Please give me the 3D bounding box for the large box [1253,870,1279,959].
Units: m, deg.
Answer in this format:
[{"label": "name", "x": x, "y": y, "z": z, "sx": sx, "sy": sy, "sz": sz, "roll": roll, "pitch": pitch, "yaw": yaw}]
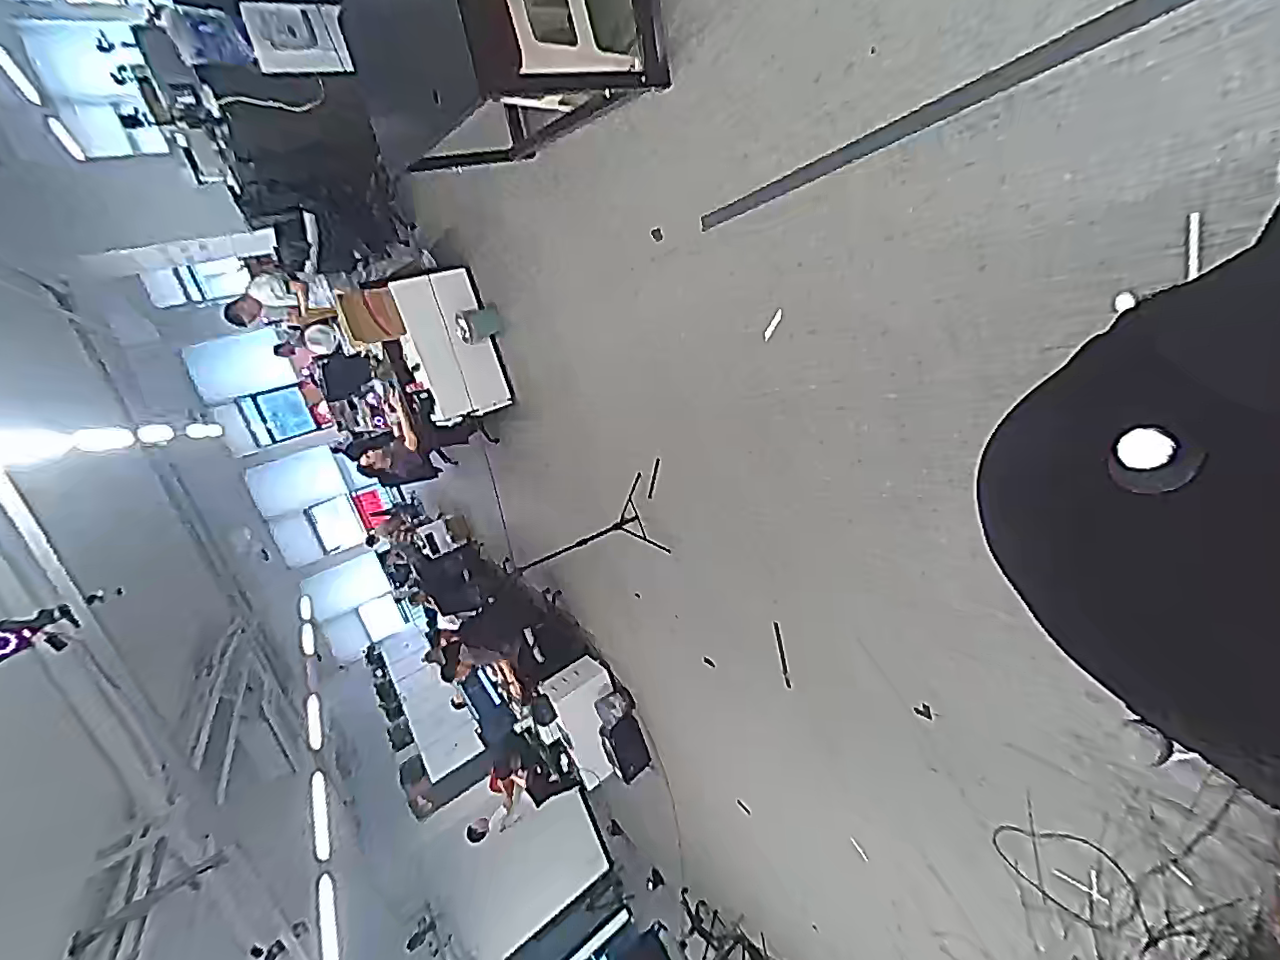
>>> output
[{"label": "large box", "x": 1.567, "y": 0.985, "z": 1.074, "sx": 0.408, "sy": 0.320, "sz": 0.320, "roll": 19, "pitch": 128, "yaw": 51}]
